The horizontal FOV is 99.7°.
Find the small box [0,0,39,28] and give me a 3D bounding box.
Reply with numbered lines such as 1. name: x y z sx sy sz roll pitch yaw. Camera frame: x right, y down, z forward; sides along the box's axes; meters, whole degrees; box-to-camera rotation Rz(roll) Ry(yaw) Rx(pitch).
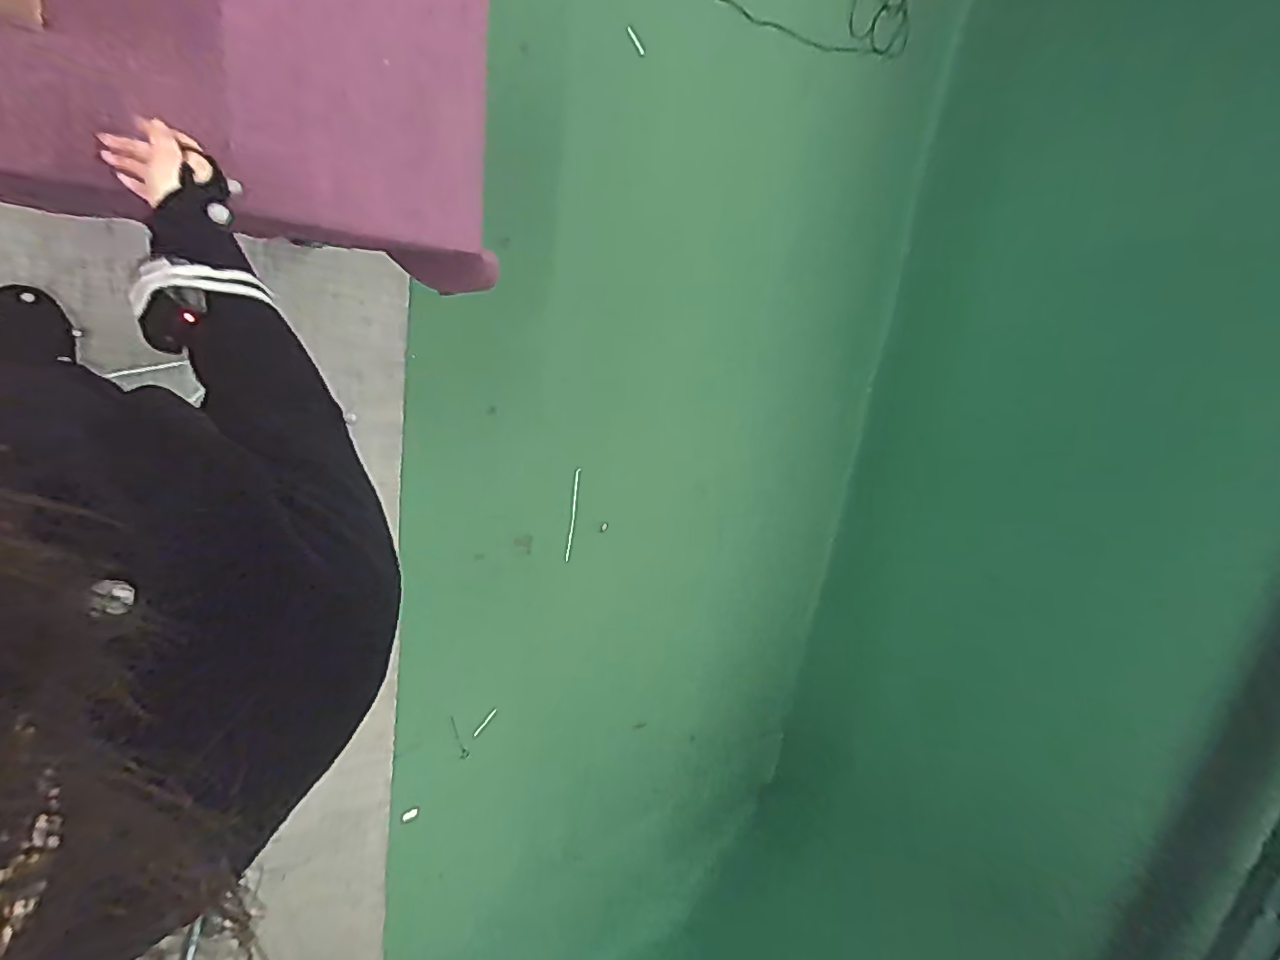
1. small box: -0.512 -0.441 0.339 0.168 0.176 0.179 -8 111 -44
